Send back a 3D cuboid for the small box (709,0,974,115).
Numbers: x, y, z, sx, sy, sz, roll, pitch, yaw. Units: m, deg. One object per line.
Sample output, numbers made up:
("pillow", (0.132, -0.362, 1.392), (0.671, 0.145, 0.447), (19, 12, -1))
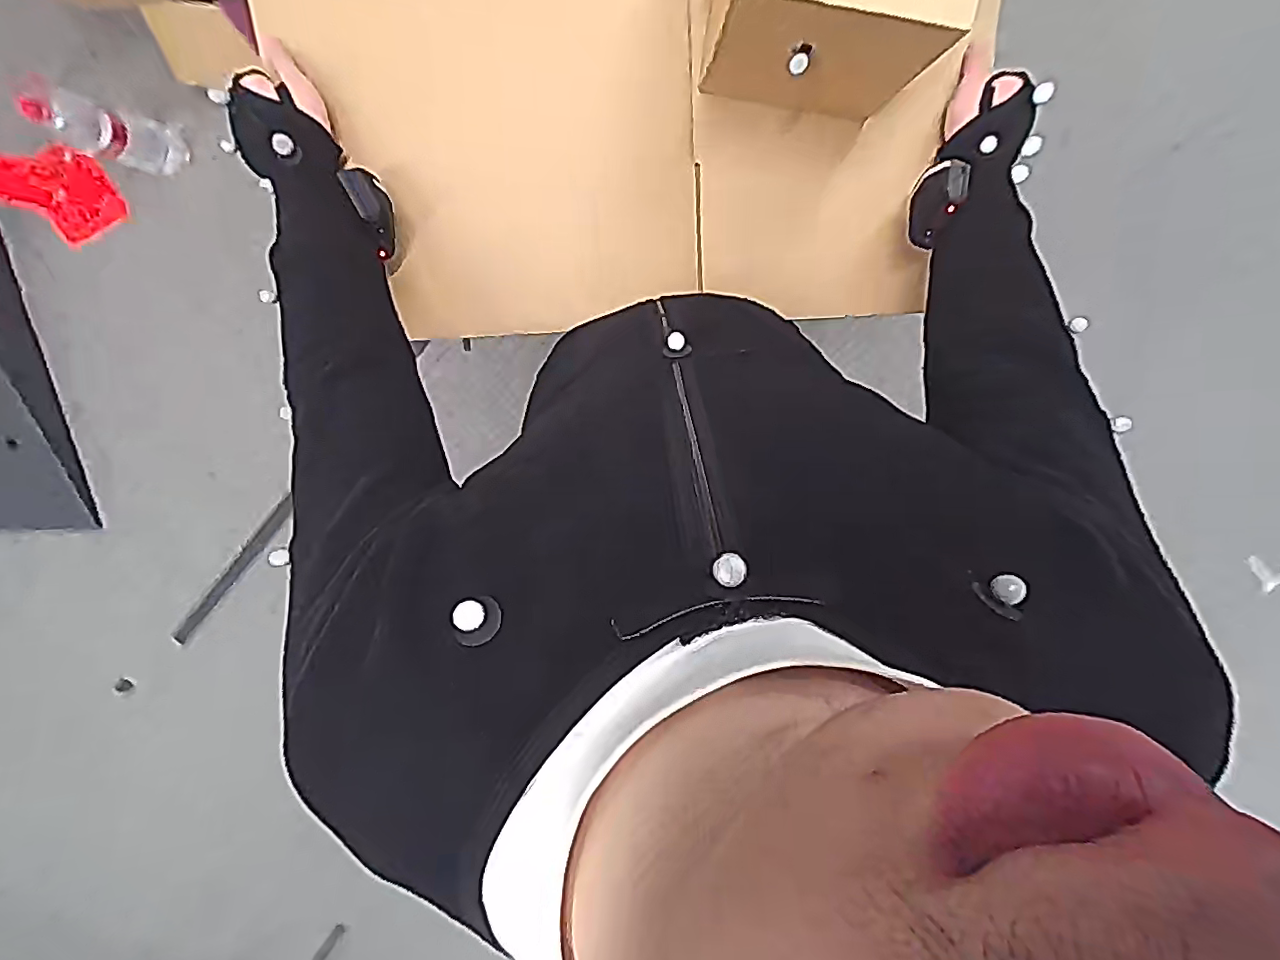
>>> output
("small box", (0.161, -0.432, 0.445), (0.179, 0.176, 0.168), (7, 106, -4))
